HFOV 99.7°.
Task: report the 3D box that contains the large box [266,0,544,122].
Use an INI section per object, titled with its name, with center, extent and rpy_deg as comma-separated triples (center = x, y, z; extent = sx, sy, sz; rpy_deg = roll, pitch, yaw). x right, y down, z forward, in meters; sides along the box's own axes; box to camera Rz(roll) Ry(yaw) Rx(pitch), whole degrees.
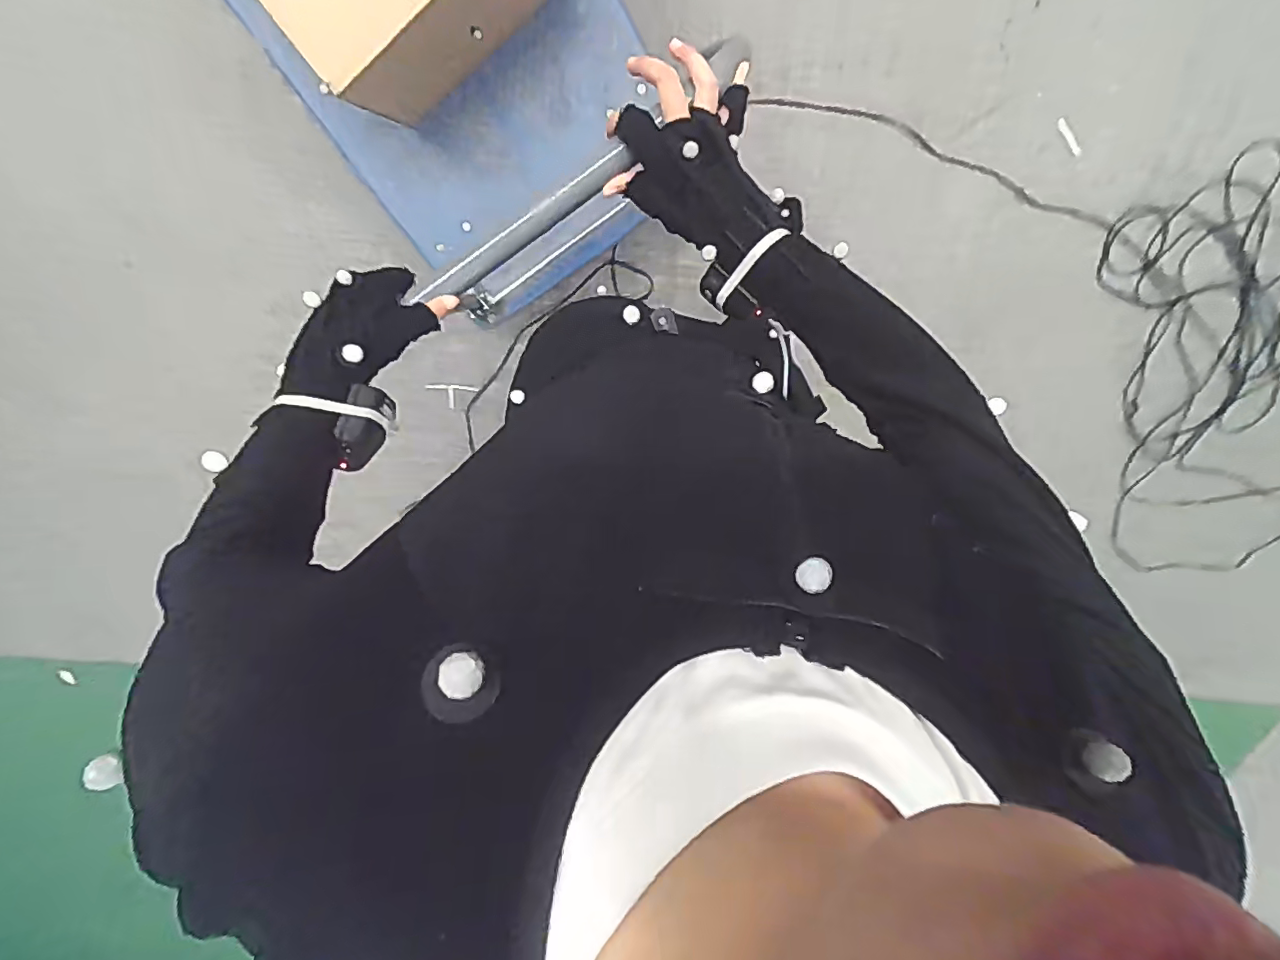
[large box]
center = -0.345, -0.817, 0.784
extent = 0.408, 0.320, 0.320
rpy_deg = -33, 112, 14
